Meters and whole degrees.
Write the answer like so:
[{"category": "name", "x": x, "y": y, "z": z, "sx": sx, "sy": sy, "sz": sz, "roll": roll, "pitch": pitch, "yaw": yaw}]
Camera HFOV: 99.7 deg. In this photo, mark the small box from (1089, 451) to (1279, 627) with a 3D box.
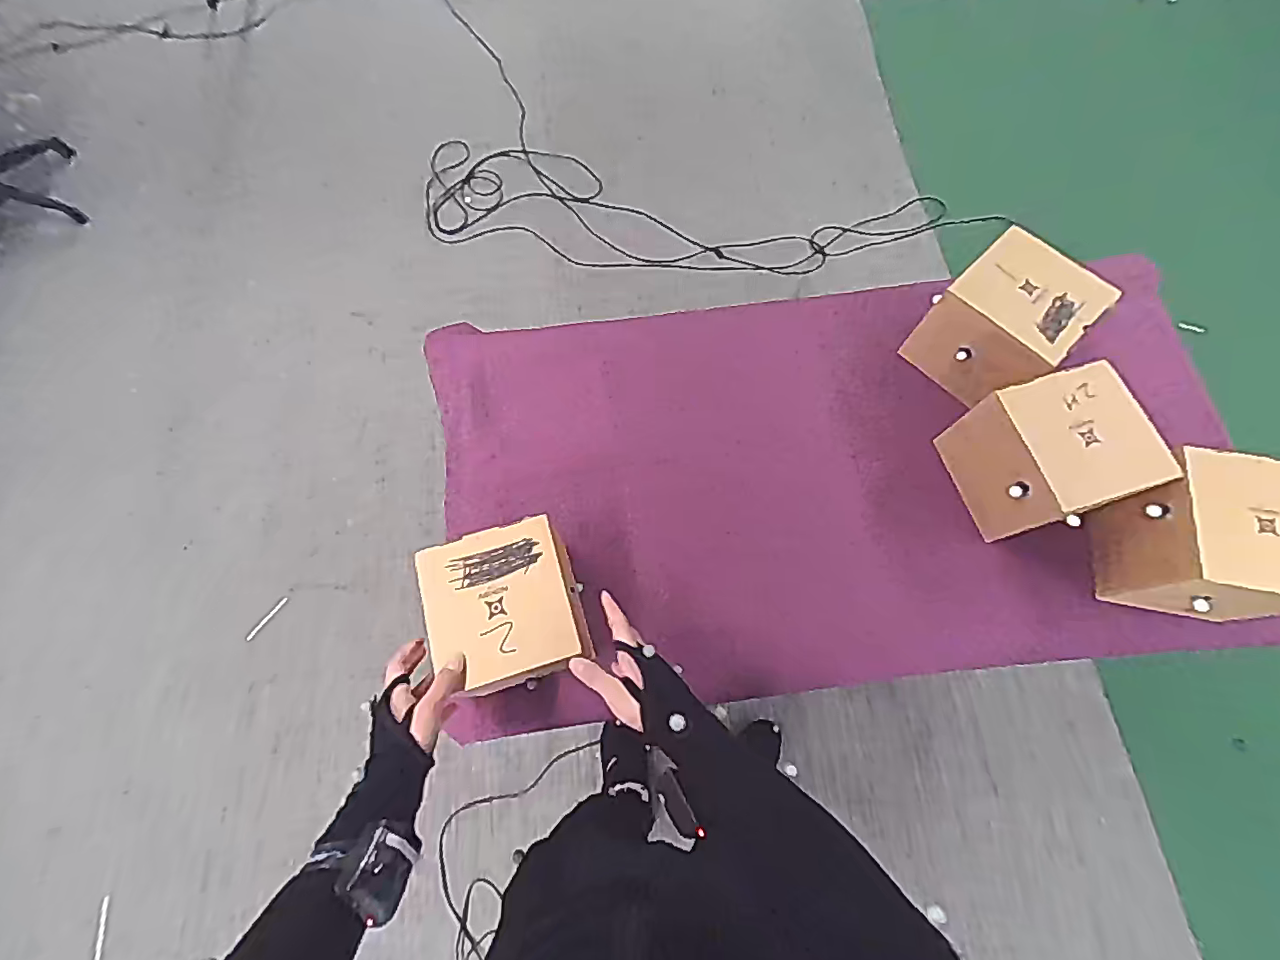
[{"category": "small box", "x": 0.736, "y": 0.086, "z": 0.708, "sx": 0.168, "sy": 0.176, "sz": 0.179, "roll": 11, "pitch": 70, "yaw": 6}]
